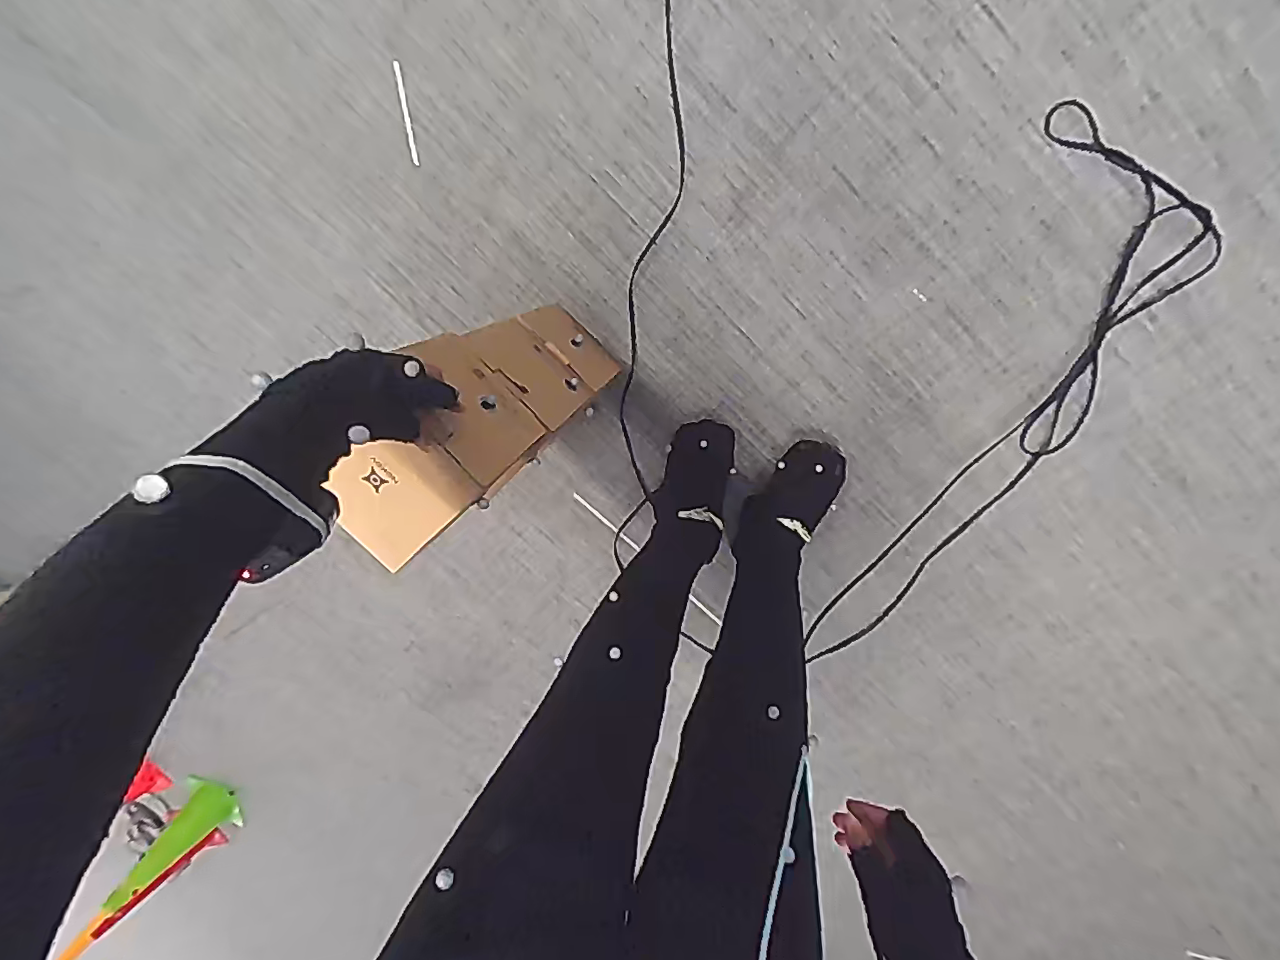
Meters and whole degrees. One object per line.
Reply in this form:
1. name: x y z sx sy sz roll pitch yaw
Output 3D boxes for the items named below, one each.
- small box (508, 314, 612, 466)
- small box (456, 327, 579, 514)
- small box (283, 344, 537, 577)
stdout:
1. small box: -0.165 -0.160 0.912 0.168 0.176 0.179 43 115 -5
2. small box: -0.207 -0.091 0.766 0.168 0.176 0.179 45 117 -9
3. small box: -0.250 -0.028 0.621 0.179 0.176 0.168 -38 101 25
